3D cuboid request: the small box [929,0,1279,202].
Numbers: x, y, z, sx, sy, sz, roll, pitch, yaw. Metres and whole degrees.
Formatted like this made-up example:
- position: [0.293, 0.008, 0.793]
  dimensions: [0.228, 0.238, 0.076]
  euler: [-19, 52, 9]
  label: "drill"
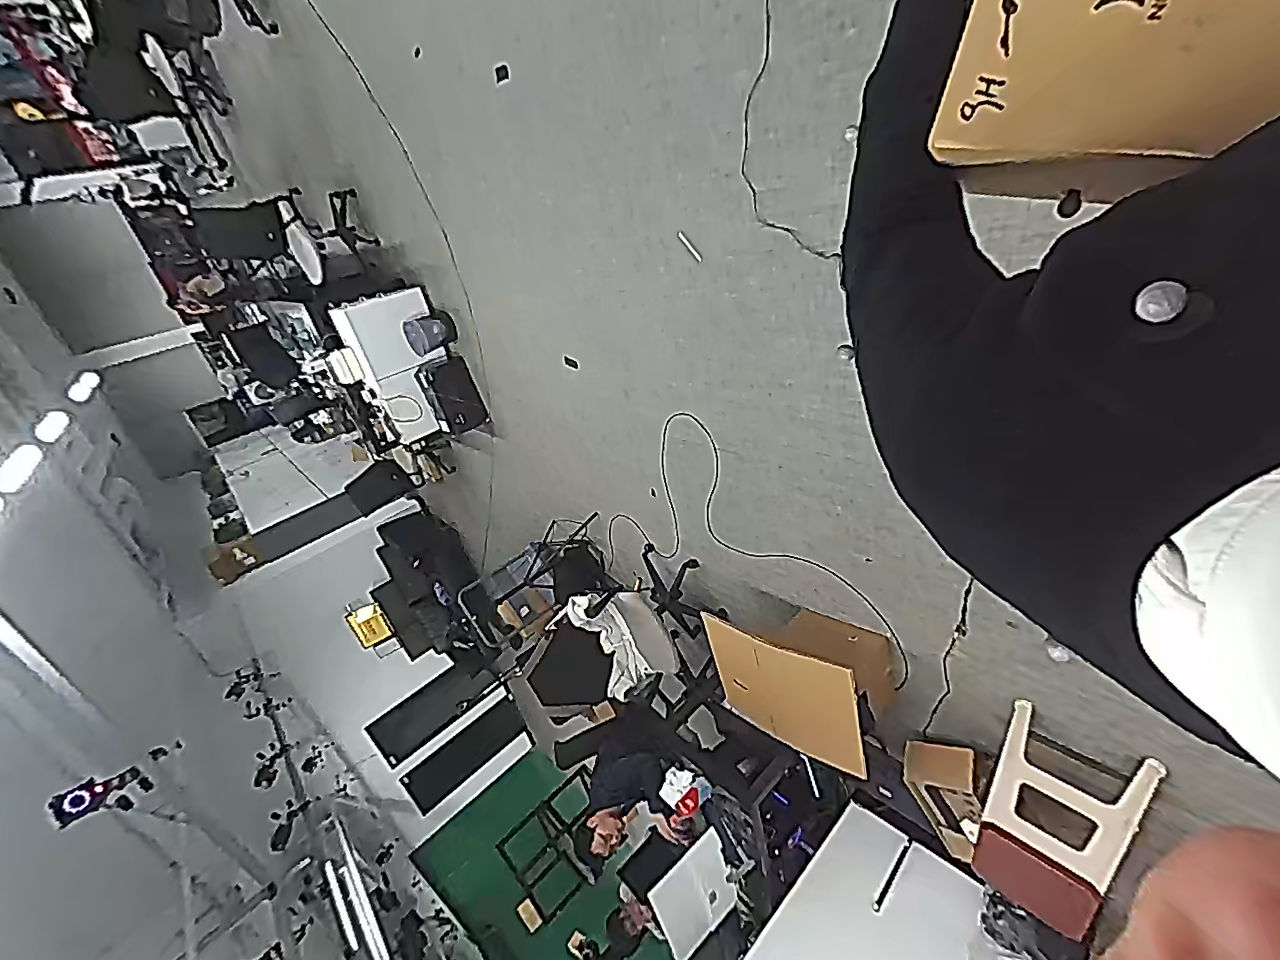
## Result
- position: [0.329, -0.294, 0.363]
  dimensions: [0.179, 0.176, 0.168]
  euler: [24, 116, 32]
  label: "small box"
